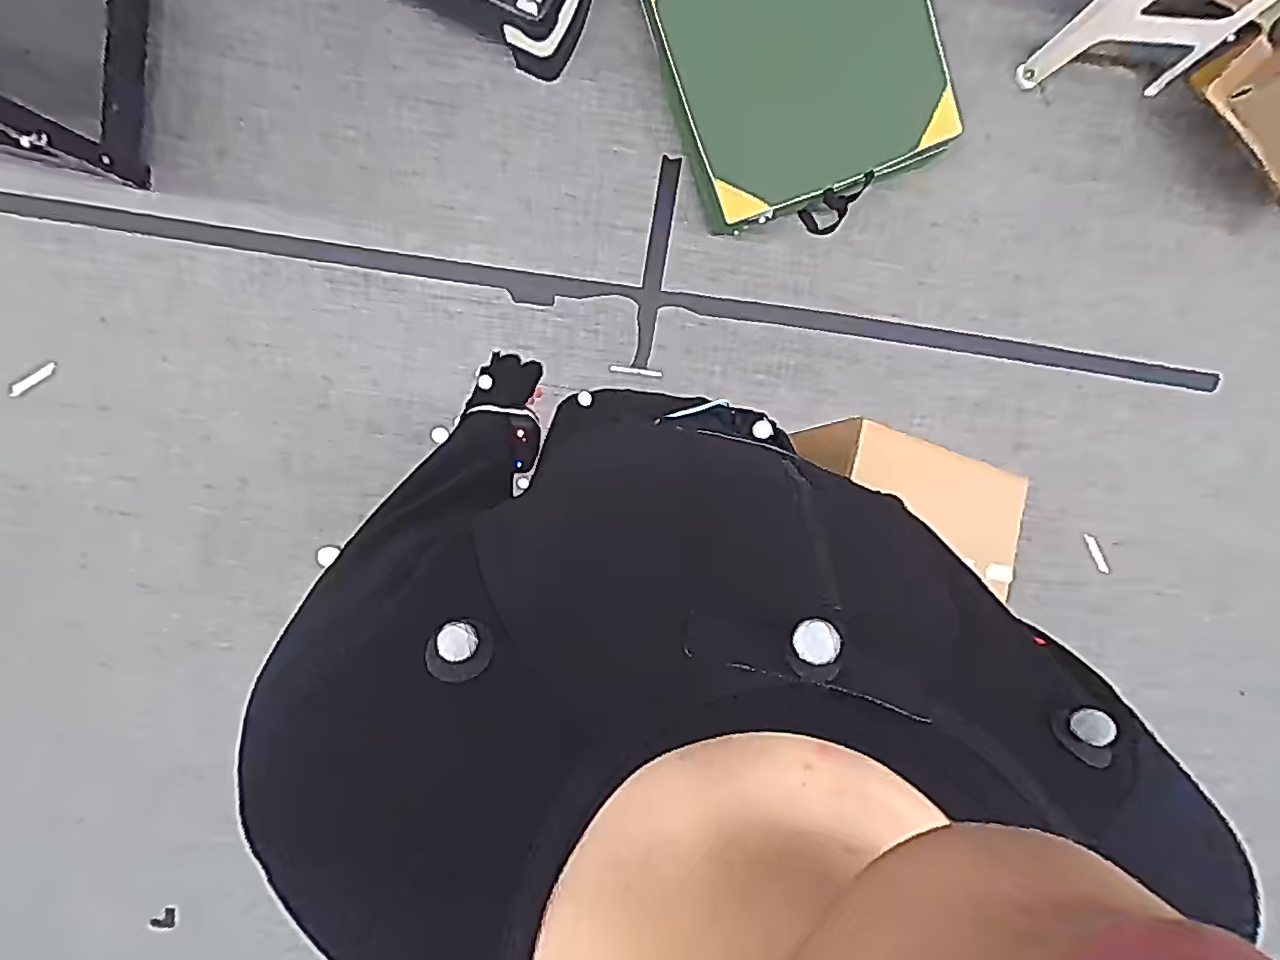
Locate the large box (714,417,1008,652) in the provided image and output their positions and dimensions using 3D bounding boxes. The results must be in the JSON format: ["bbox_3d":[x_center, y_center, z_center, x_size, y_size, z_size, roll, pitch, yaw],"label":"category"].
[{"bbox_3d":[0.374,0.100,0.999,0.320,0.408,0.320,15,84,-11],"label":"large box"}]
